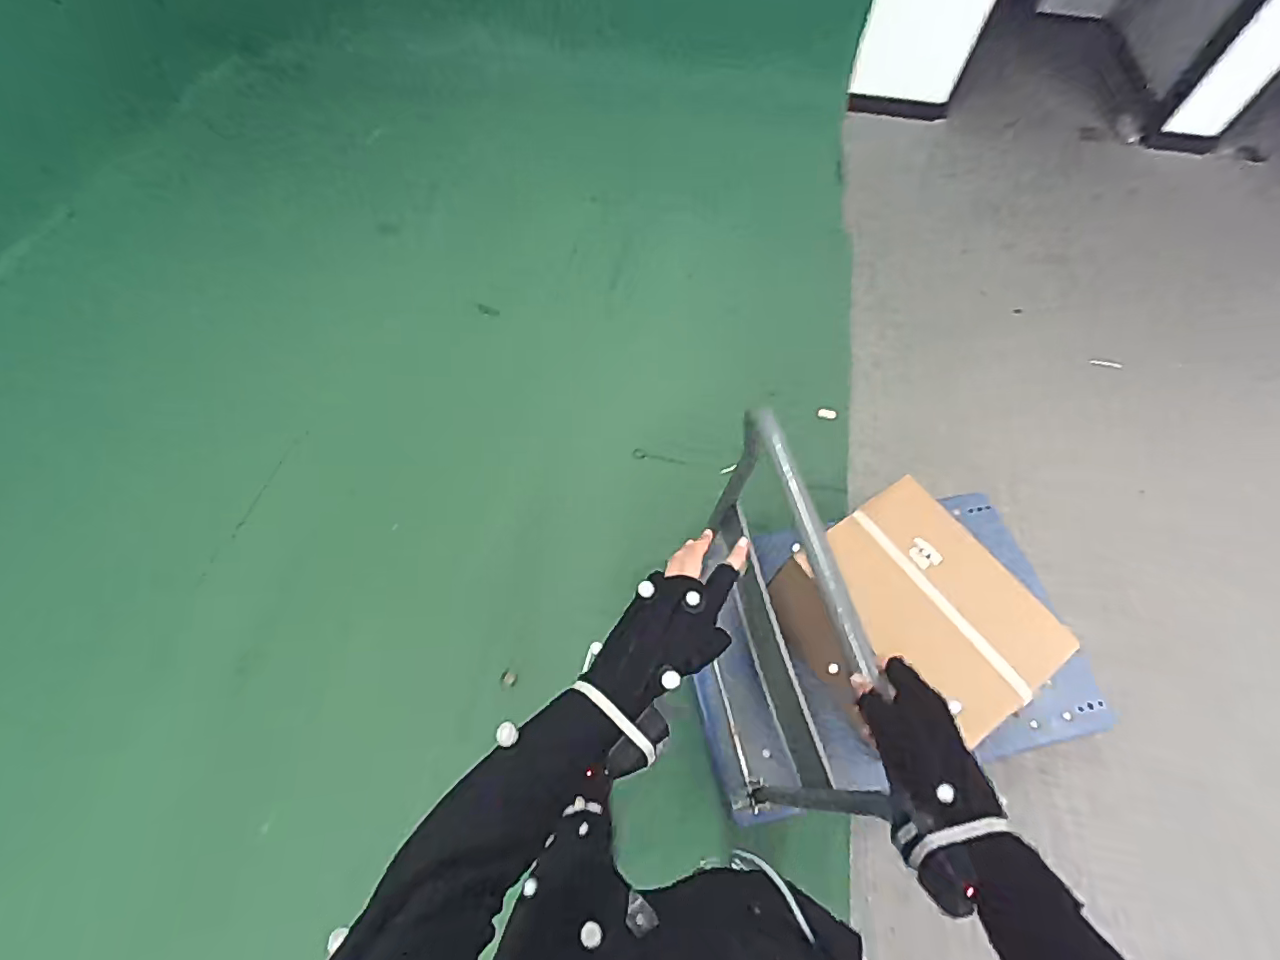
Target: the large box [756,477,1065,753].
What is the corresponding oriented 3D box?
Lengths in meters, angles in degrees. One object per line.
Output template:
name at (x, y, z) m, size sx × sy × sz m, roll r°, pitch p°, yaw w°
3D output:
large box at (0.506, 0.280, 1.104) m, size 0.320 × 0.320 × 0.408 m, roll -31°, pitch 65°, yaw -17°
